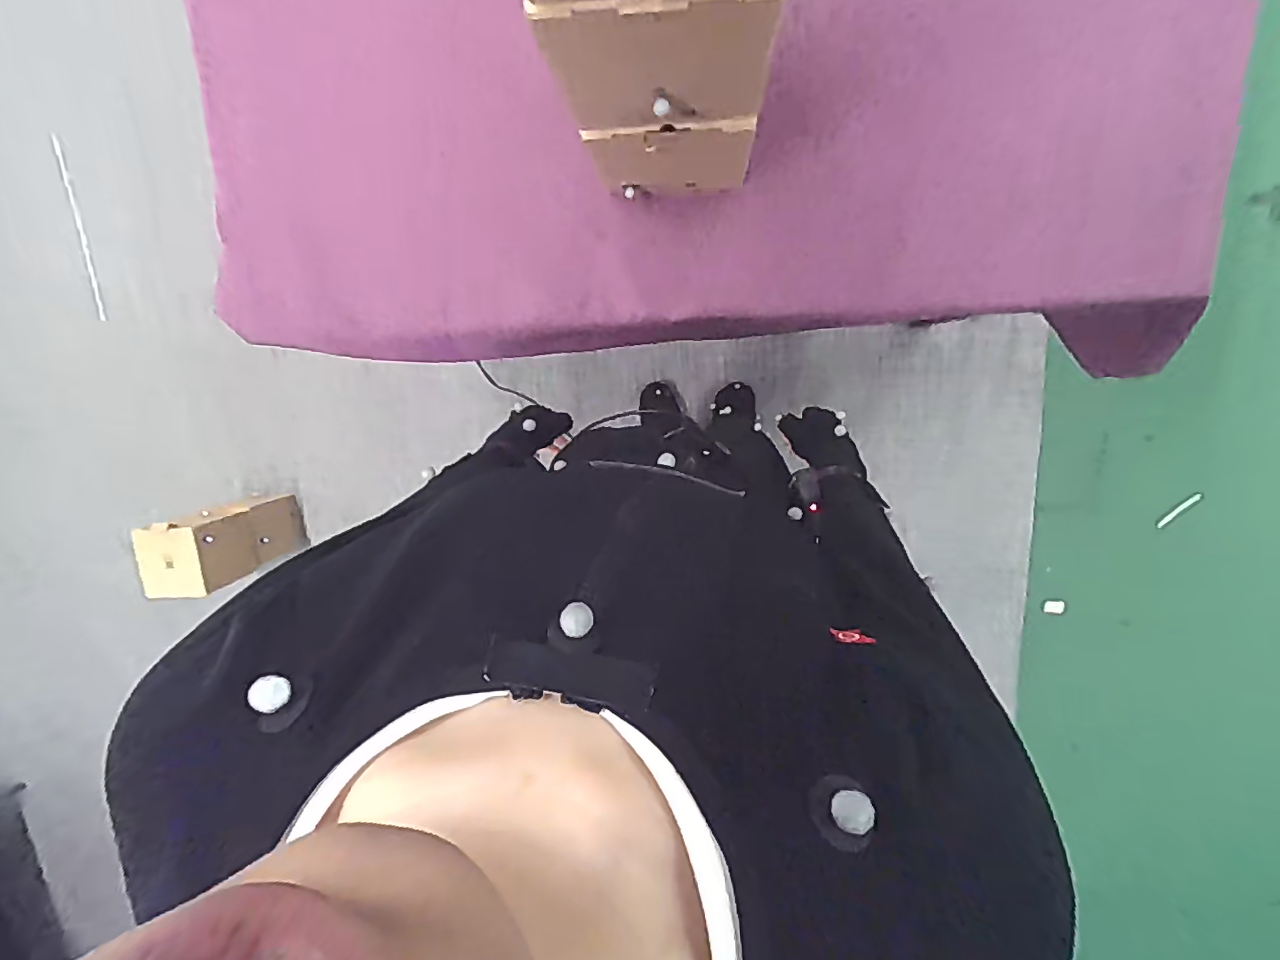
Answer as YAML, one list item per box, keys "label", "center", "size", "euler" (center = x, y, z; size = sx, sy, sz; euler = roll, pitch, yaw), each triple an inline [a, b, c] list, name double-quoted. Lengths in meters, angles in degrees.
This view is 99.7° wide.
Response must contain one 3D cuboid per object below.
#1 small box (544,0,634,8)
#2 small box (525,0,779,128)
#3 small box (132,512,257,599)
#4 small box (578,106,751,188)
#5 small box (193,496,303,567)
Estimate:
- label: "small box"
  center: [-0.003, -0.374, 0.247]
  size: [0.168, 0.176, 0.179]
  euler: [-1, 101, 6]
- label: "small box"
  center: [0.013, -0.400, 0.407]
  size: [0.168, 0.176, 0.179]
  euler: [0, 101, 6]
- label: "small box"
  center: [-1.120, 0.188, 1.375]
  size: [0.168, 0.176, 0.179]
  euler: [-3, 100, 6]
- label: "small box"
  center: [0.030, -0.424, 0.569]
  size: [0.168, 0.176, 0.179]
  euler: [0, 100, 5]
- label: "small box"
  center: [-1.103, 0.144, 1.532]
  size: [0.179, 0.176, 0.168]
  euler: [-3, 101, 7]
